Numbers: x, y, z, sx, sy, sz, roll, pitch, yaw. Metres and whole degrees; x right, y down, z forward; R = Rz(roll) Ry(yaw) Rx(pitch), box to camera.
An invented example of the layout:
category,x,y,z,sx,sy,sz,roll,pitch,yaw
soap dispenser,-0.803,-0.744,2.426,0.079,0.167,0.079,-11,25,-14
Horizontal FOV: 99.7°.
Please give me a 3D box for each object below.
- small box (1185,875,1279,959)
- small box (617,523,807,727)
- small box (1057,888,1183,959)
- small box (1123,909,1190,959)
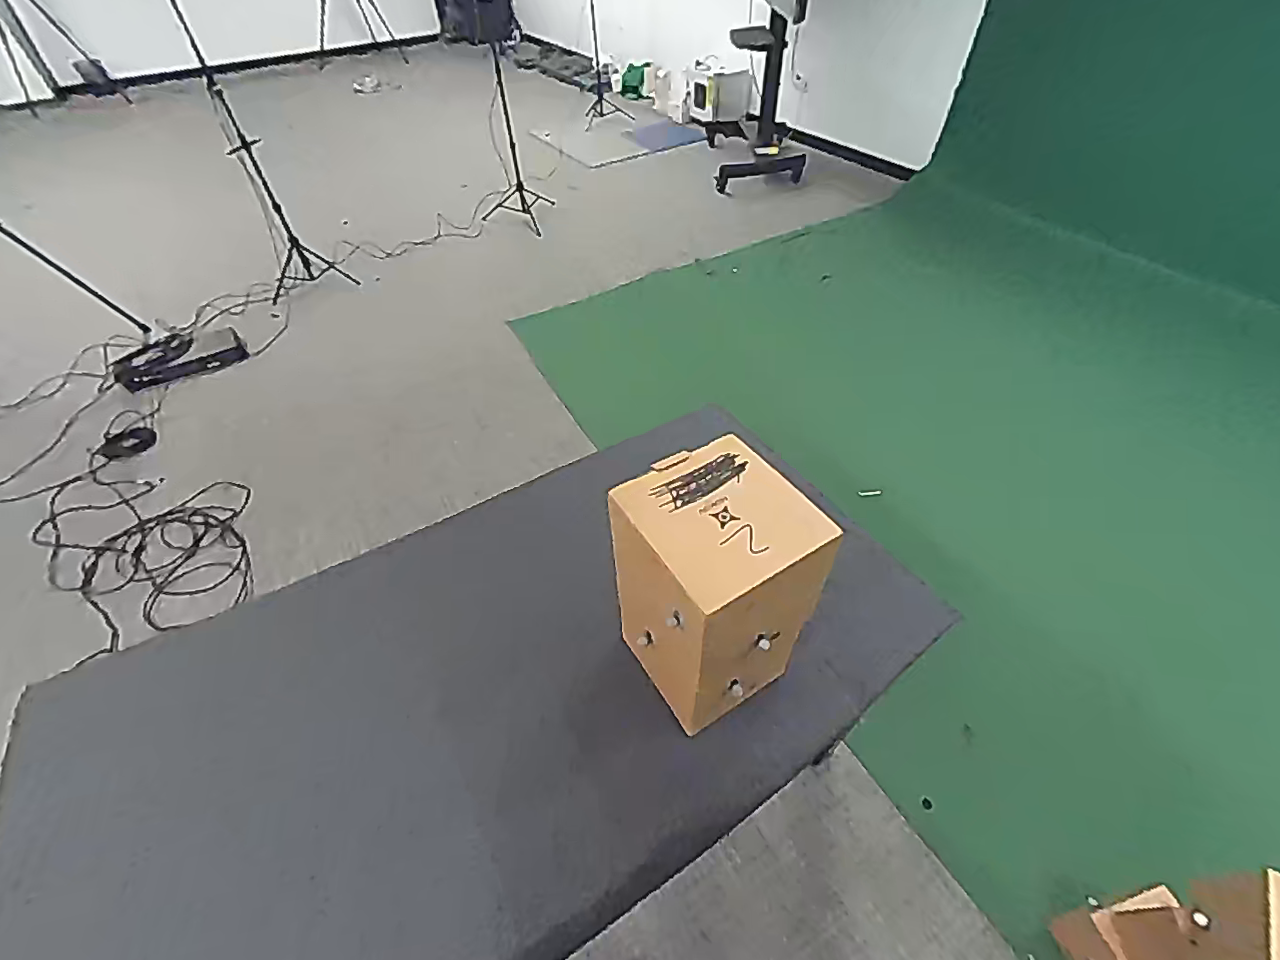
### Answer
category,x,y,z,sx,sy,sz,roll,pitch,yaw
small box,0.938,0.703,0.762,0.179,0.176,0.168,27,56,24
small box,0.088,0.196,0.710,0.168,0.176,0.179,-26,51,-19
small box,0.942,0.903,1.021,0.179,0.176,0.168,-13,49,-9
small box,0.948,0.817,0.880,0.179,0.176,0.168,3,50,4
